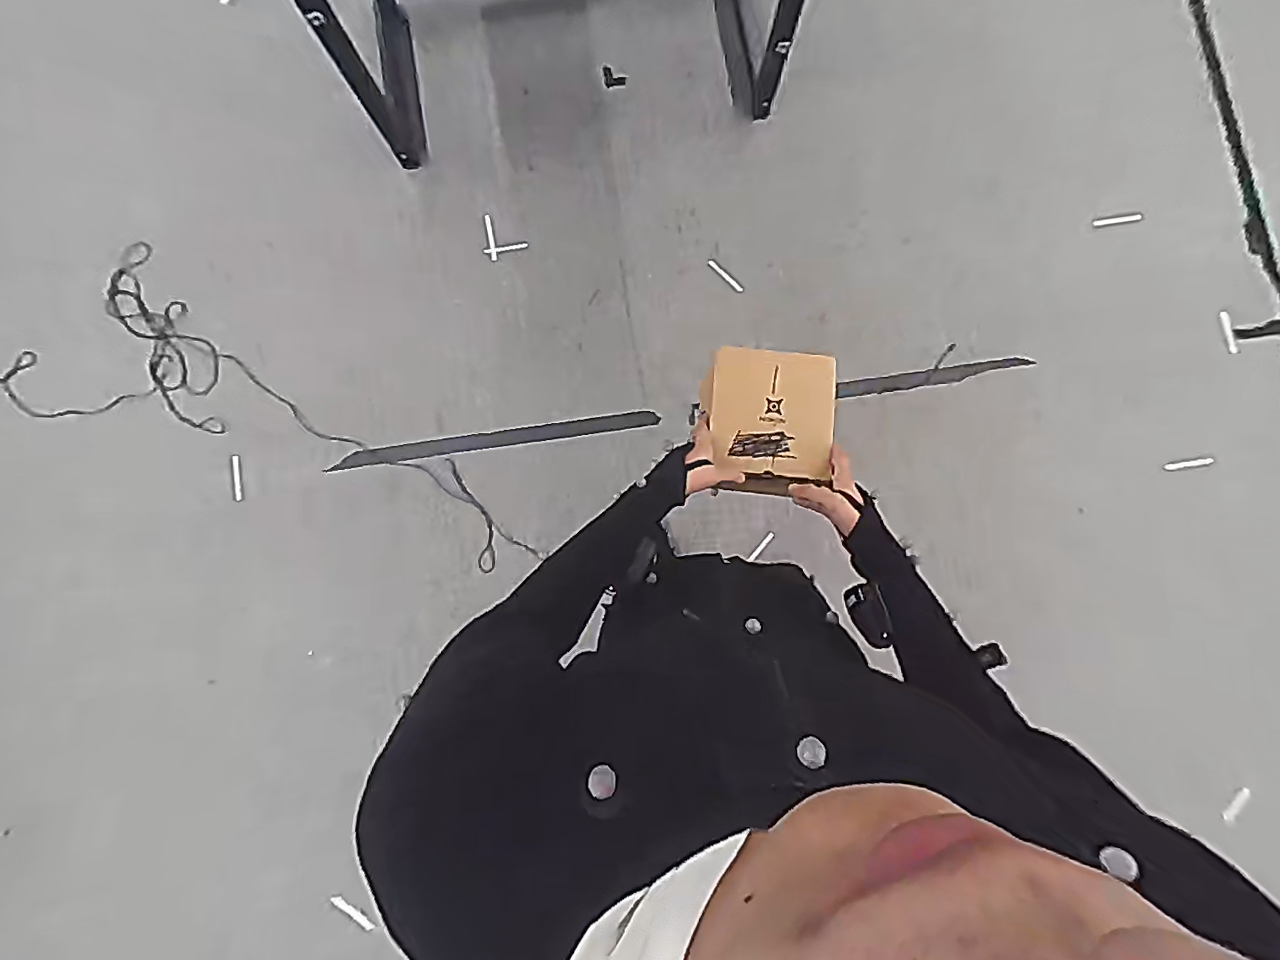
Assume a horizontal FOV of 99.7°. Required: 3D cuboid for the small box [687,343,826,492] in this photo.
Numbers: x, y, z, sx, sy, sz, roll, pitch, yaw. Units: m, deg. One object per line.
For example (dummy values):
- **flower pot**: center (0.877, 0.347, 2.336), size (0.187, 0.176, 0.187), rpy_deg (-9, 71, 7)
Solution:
- **small box**: center (0.161, -0.081, 0.795), size (0.168, 0.176, 0.179), rpy_deg (5, 81, 0)
